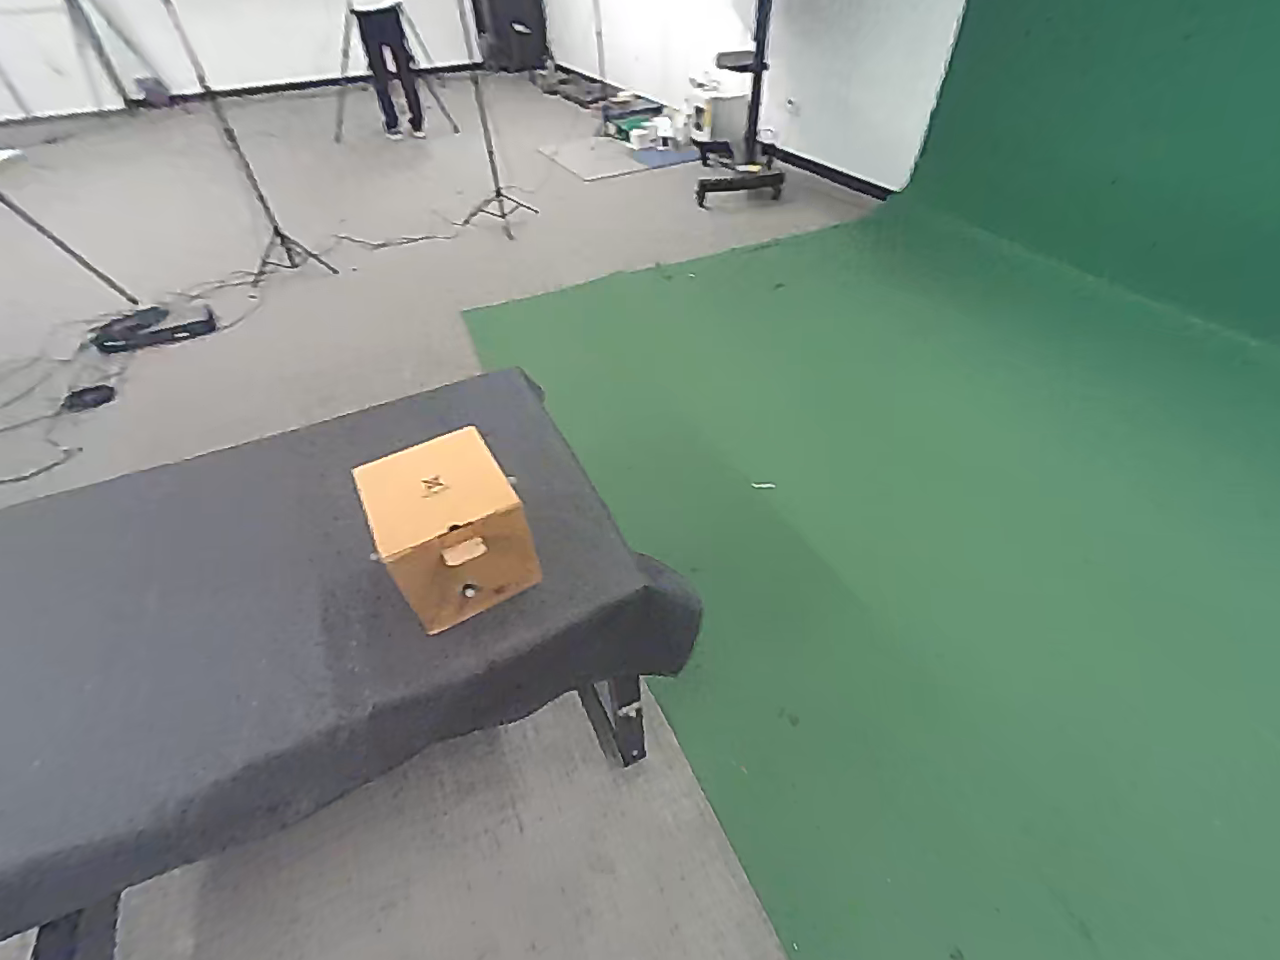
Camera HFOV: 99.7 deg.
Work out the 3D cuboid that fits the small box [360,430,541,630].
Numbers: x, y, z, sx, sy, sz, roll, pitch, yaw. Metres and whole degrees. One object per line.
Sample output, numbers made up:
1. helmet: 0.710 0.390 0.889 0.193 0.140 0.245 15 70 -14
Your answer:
1. small box: -0.250 0.067 0.733 0.168 0.176 0.179 -24 49 -21
